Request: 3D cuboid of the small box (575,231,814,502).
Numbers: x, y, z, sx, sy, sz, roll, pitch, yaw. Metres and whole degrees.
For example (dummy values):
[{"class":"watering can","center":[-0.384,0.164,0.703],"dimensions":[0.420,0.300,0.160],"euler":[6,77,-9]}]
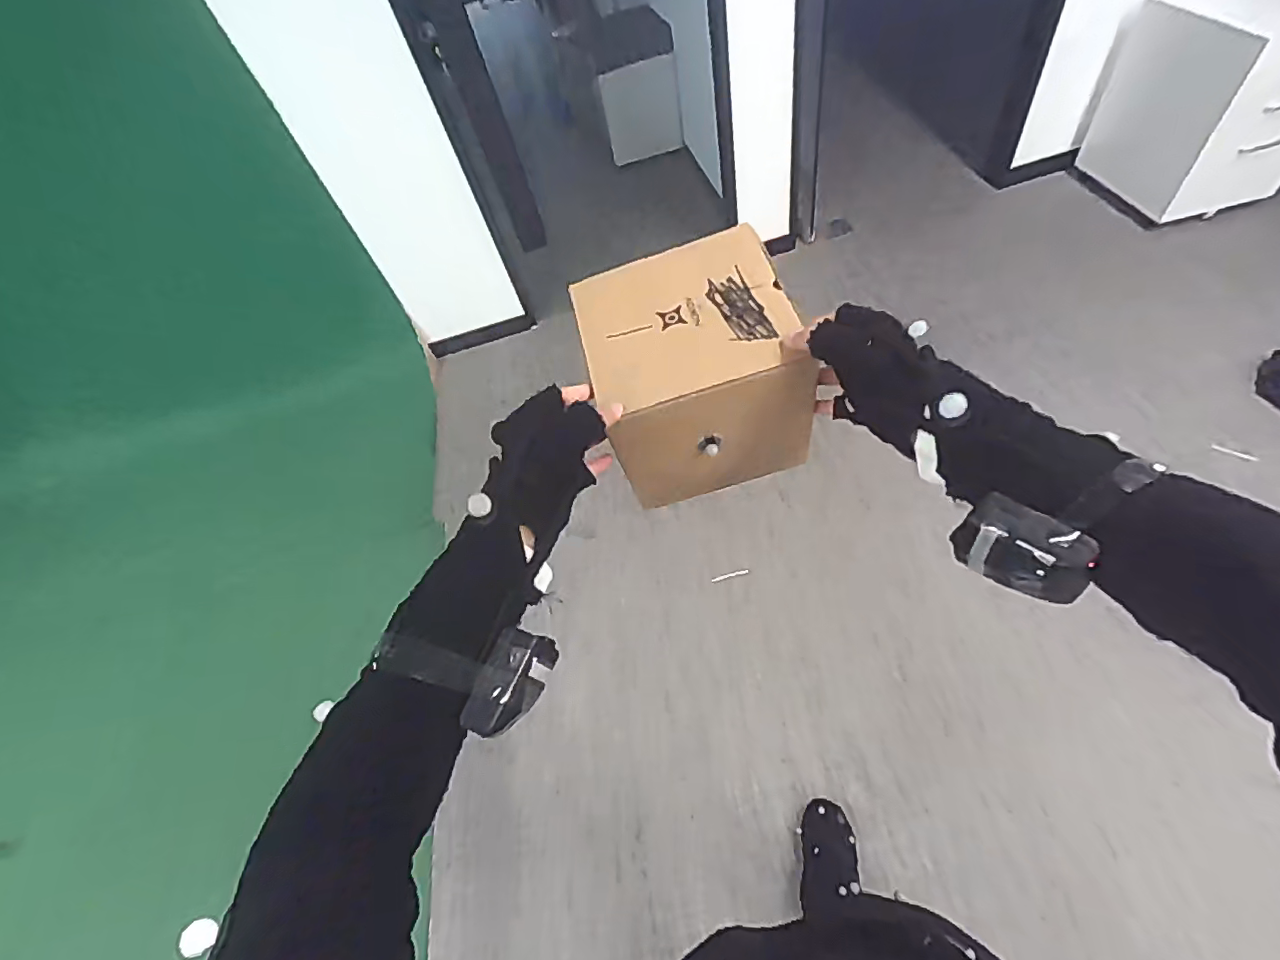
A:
[{"class":"small box","center":[0.054,-0.101,0.534],"dimensions":[0.179,0.176,0.168],"euler":[-17,59,5]}]
